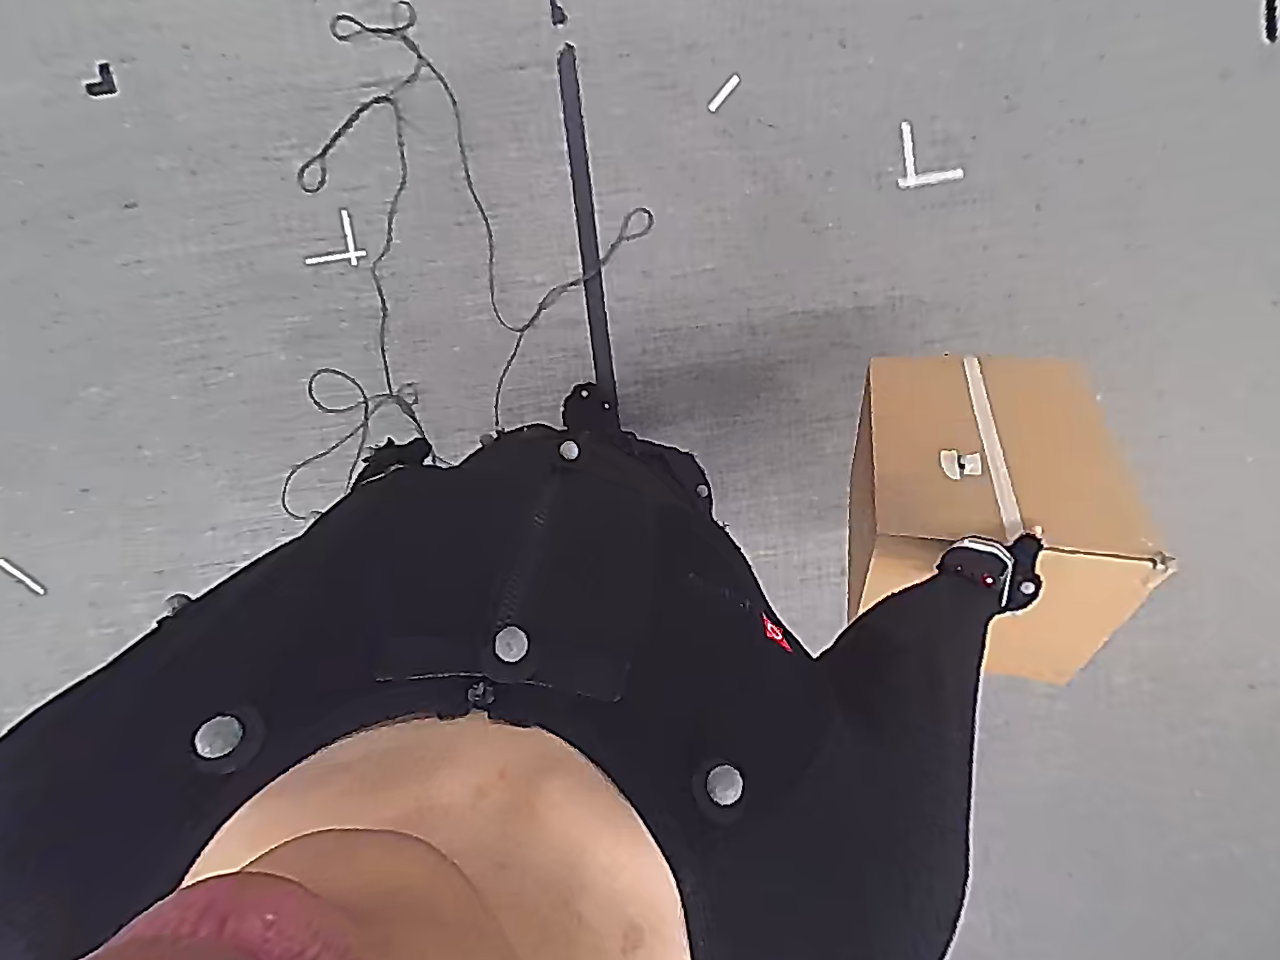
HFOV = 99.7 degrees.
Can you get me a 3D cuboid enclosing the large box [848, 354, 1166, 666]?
[{"bbox_3d":[0.531,0.036,0.899,0.320,0.408,0.320,4,138,17],"label":"large box"}]
